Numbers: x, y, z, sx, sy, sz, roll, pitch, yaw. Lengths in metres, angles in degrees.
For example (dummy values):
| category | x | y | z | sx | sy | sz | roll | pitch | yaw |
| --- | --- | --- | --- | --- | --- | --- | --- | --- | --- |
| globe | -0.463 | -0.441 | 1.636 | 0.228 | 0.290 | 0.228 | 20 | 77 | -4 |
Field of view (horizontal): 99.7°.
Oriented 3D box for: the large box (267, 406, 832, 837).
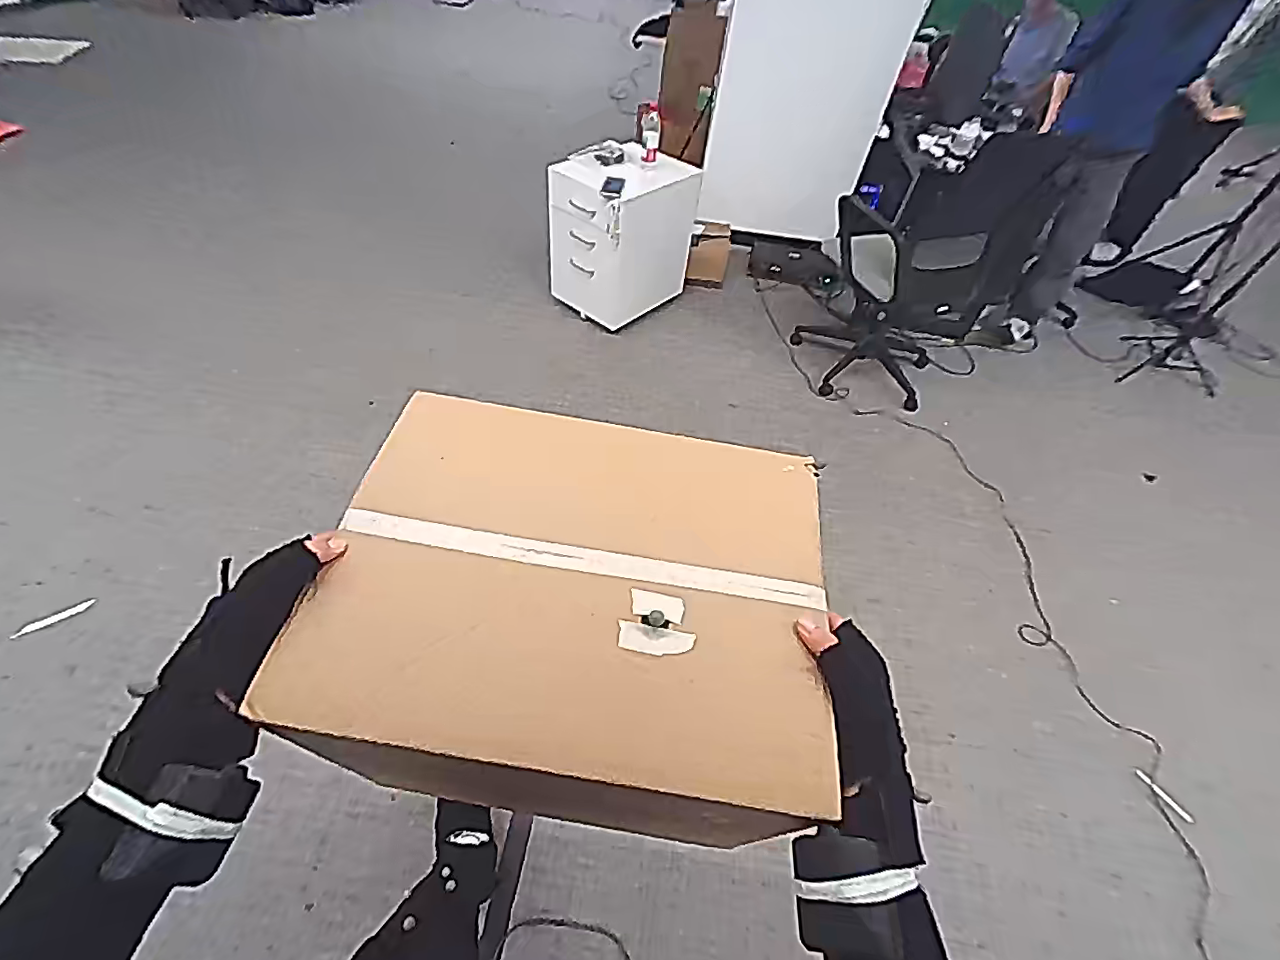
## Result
| category | x | y | z | sx | sy | sz | roll | pitch | yaw |
| --- | --- | --- | --- | --- | --- | --- | --- | --- | --- |
| large box | -0.061 | 0.163 | 0.578 | 0.408 | 0.320 | 0.320 | 10 | 54 | 0 |
